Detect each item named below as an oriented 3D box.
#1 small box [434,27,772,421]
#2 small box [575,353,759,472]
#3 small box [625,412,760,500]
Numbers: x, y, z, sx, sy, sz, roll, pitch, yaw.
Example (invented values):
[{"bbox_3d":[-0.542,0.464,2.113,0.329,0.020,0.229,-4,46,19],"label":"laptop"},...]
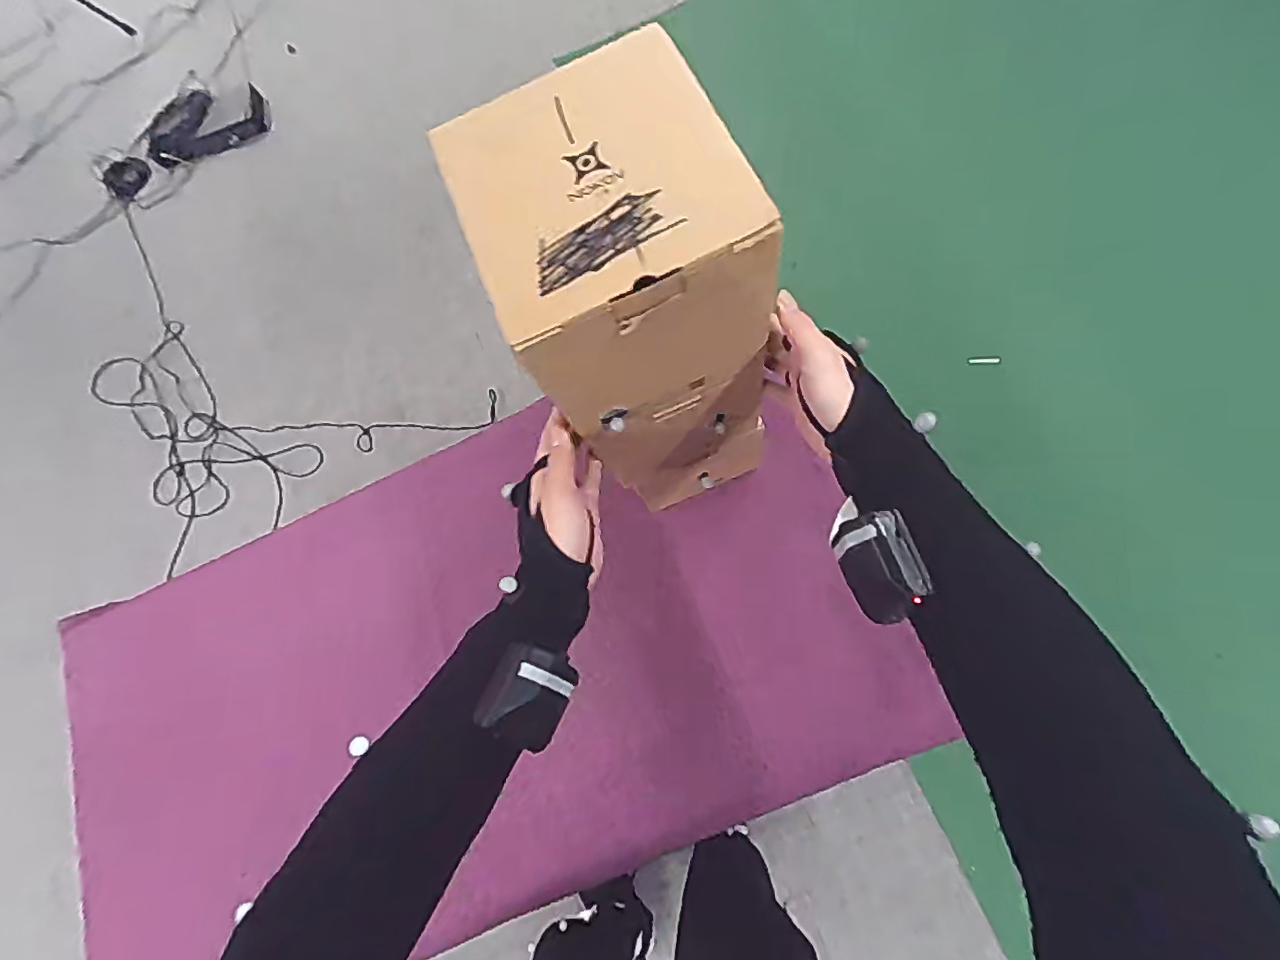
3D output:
[{"bbox_3d":[-0.017,-0.162,0.400,0.168,0.176,0.179,-24,73,2],"label":"small box"},{"bbox_3d":[0.012,-0.121,0.556,0.168,0.176,0.179,-23,73,3],"label":"small box"},{"bbox_3d":[0.046,-0.084,0.712,0.168,0.176,0.179,-24,74,3],"label":"small box"}]
